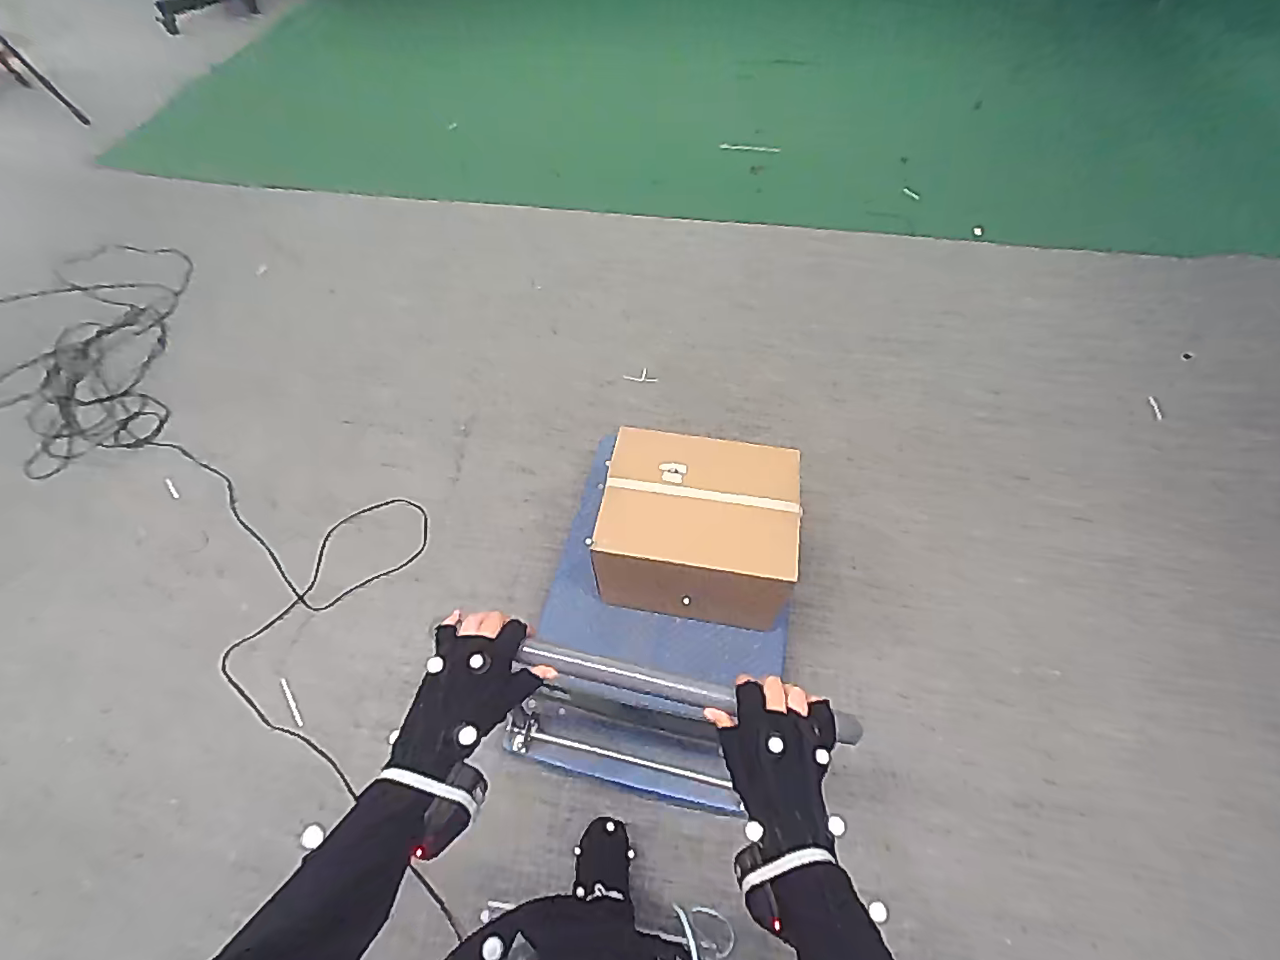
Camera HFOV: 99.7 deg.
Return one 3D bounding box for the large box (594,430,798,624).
[{"bbox_3d":[0.133,0.117,1.256,0.408,0.320,0.320,8,57,6],"label":"large box"}]
